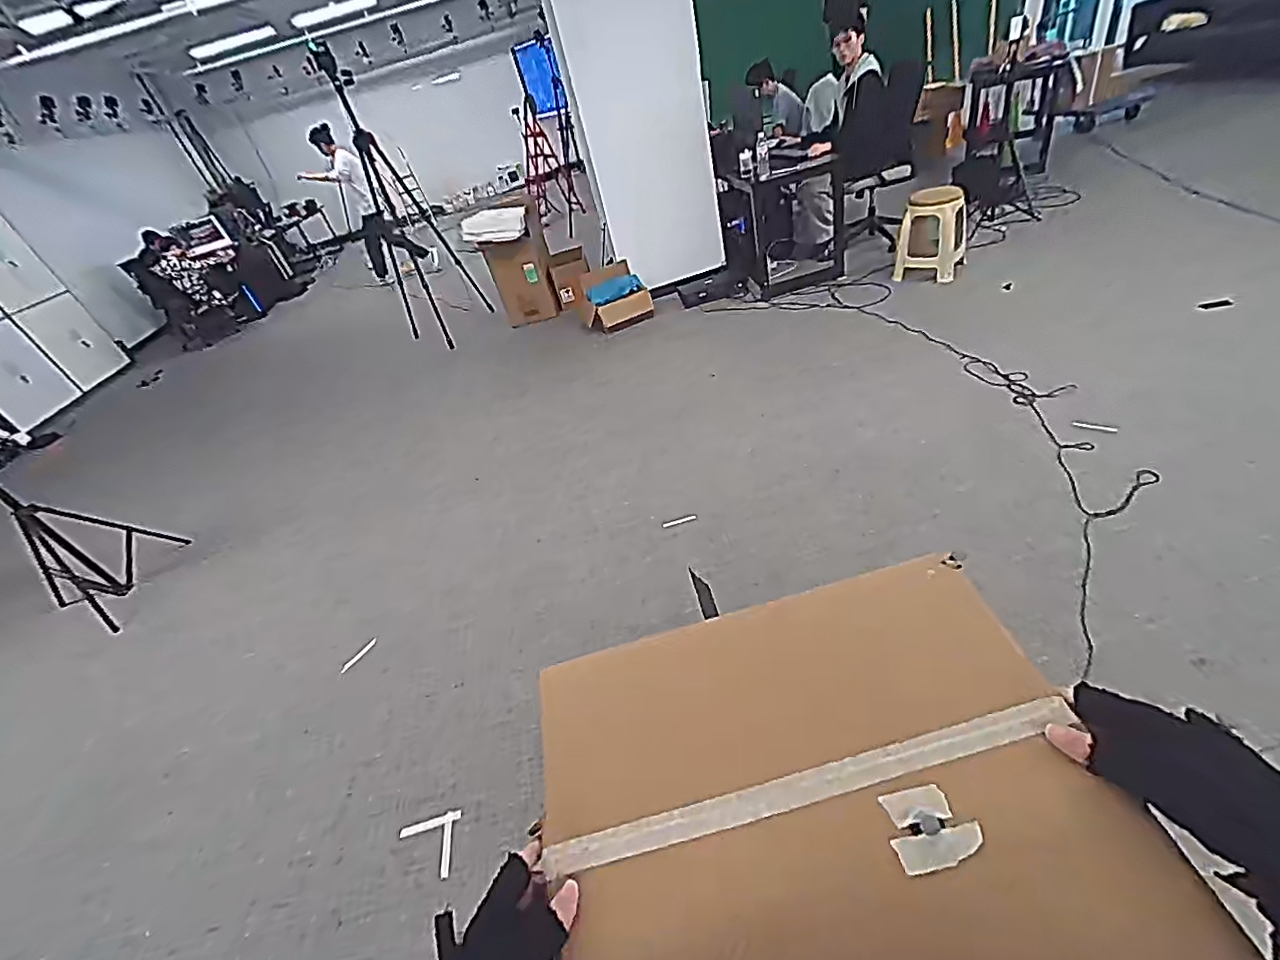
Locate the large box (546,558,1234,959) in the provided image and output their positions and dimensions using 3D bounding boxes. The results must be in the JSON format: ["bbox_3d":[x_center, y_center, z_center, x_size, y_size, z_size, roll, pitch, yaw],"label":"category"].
[{"bbox_3d":[0.158,0.338,0.521,0.408,0.320,0.320,-17,45,0],"label":"large box"}]
